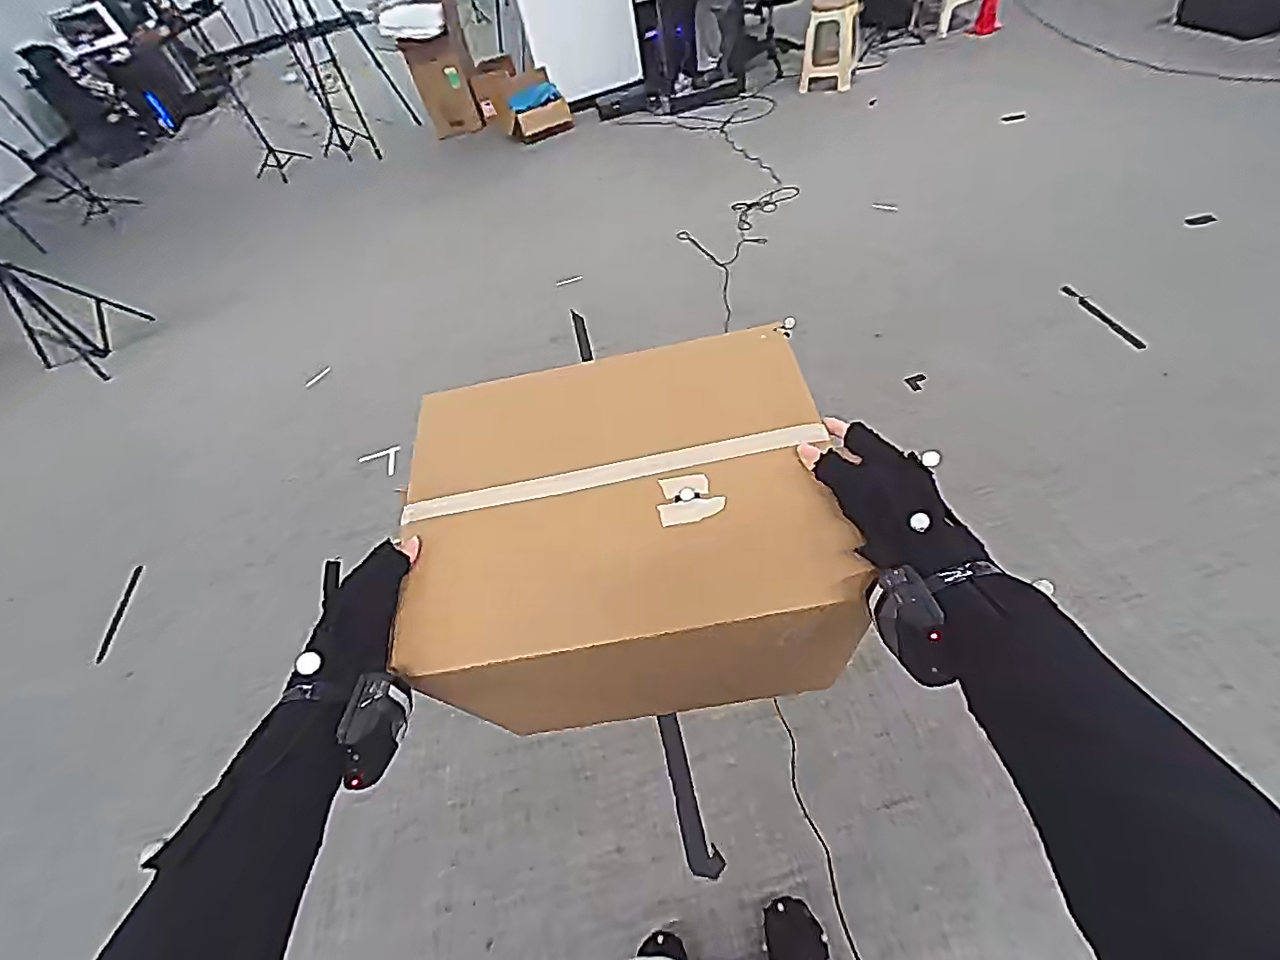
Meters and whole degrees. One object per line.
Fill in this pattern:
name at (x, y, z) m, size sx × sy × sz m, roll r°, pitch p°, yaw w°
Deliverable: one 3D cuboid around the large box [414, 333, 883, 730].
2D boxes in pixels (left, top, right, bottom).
large box at (0.004, 0.080, 0.647) m, size 0.408 × 0.320 × 0.320 m, roll -11°, pitch 57°, yaw 3°
